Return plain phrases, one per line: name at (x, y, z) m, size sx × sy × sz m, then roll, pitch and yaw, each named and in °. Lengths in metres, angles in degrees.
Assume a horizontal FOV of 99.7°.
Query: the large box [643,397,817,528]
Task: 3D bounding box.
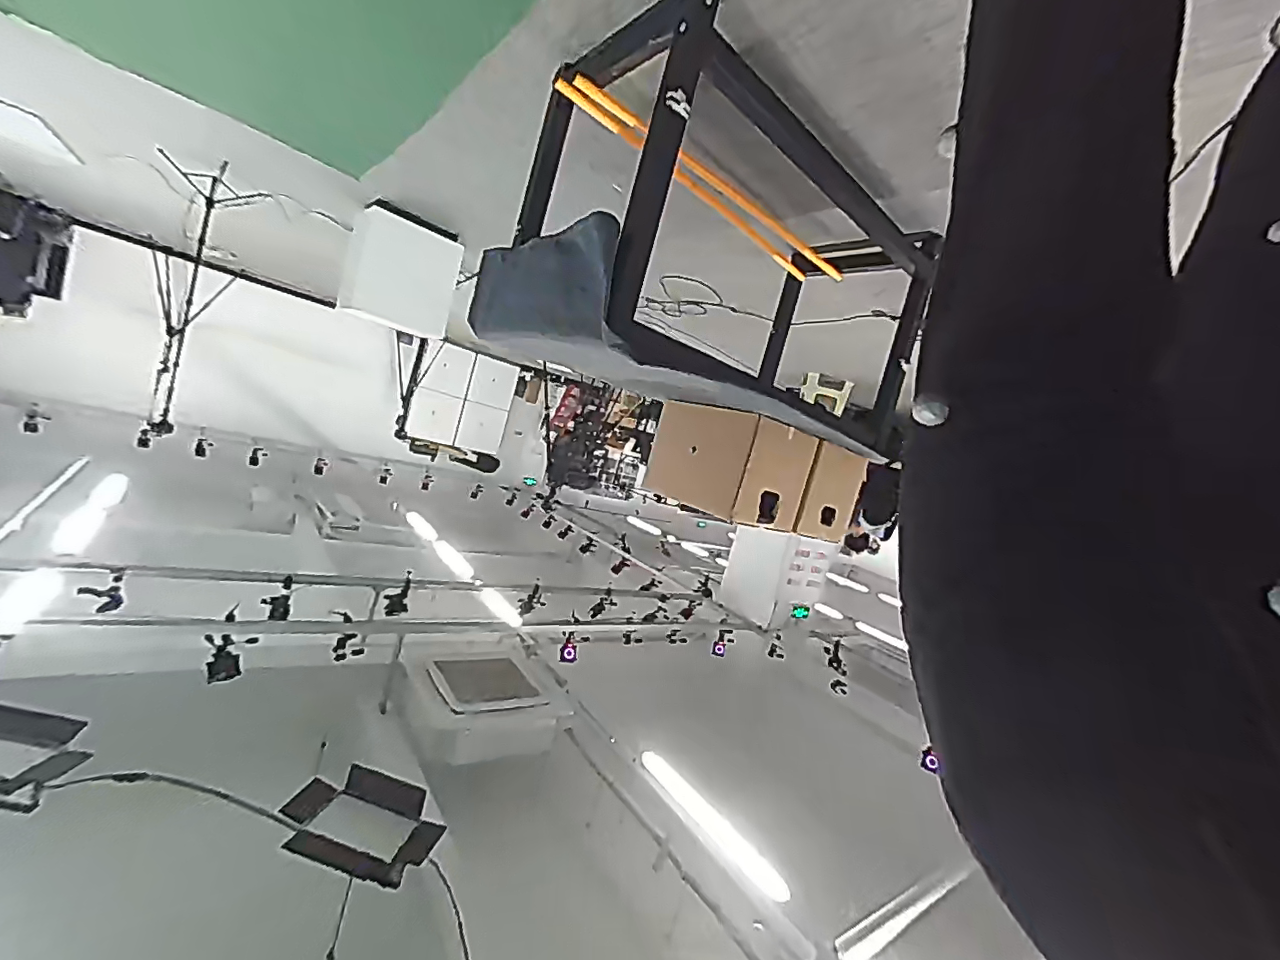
large box at (0.274, -0.064, 1.710) m, size 0.320 × 0.320 × 0.408 m, roll 12°, pitch -176°, yaw -39°
